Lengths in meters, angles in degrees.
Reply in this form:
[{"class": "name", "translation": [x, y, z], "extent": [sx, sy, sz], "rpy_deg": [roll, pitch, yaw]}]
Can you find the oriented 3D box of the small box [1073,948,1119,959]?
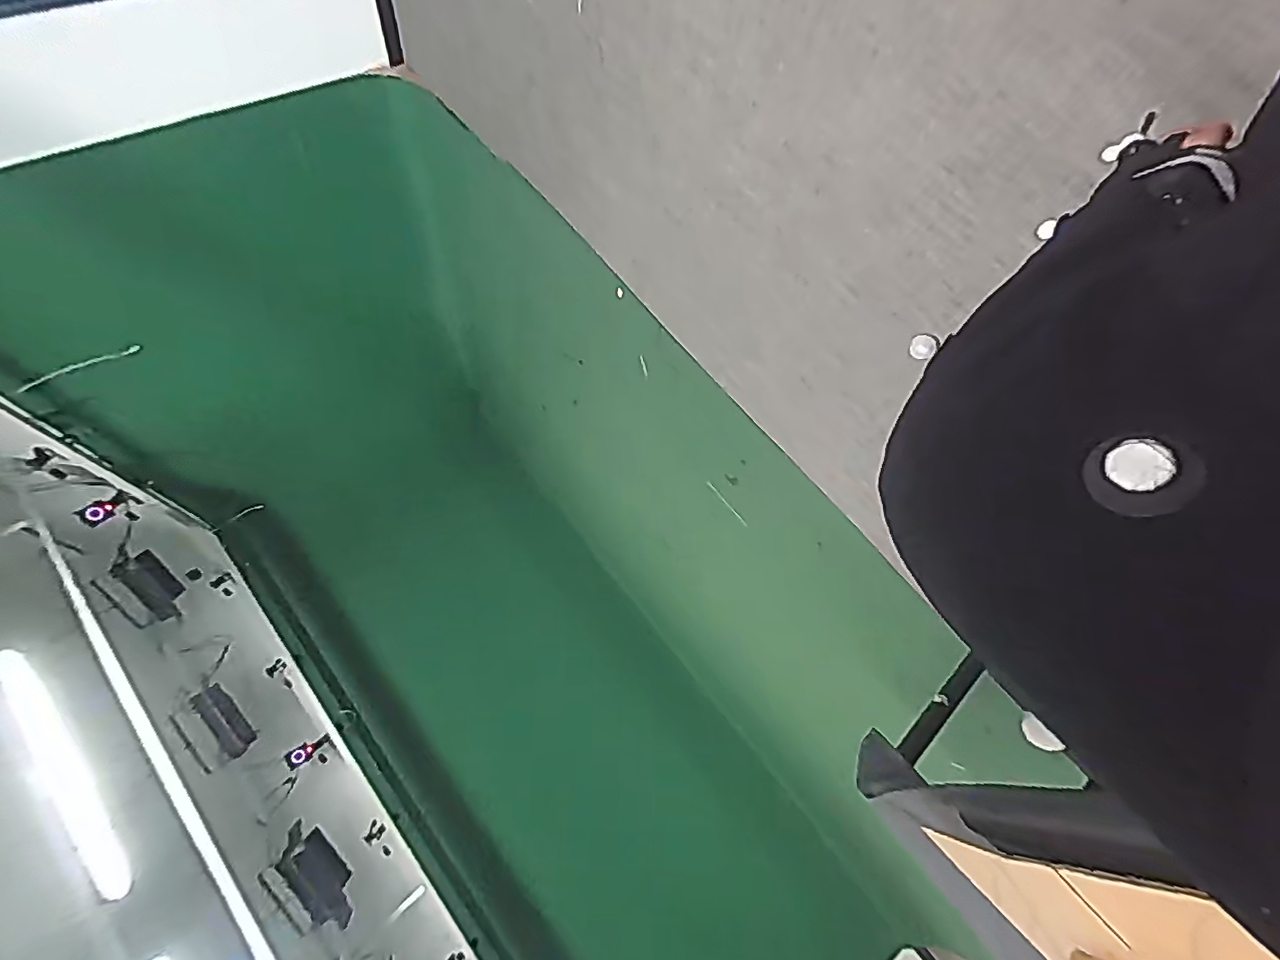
[{"class": "small box", "translation": [0.837, 0.945, 0.906], "extent": [0.168, 0.176, 0.179], "rpy_deg": [41, 155, 19]}]
